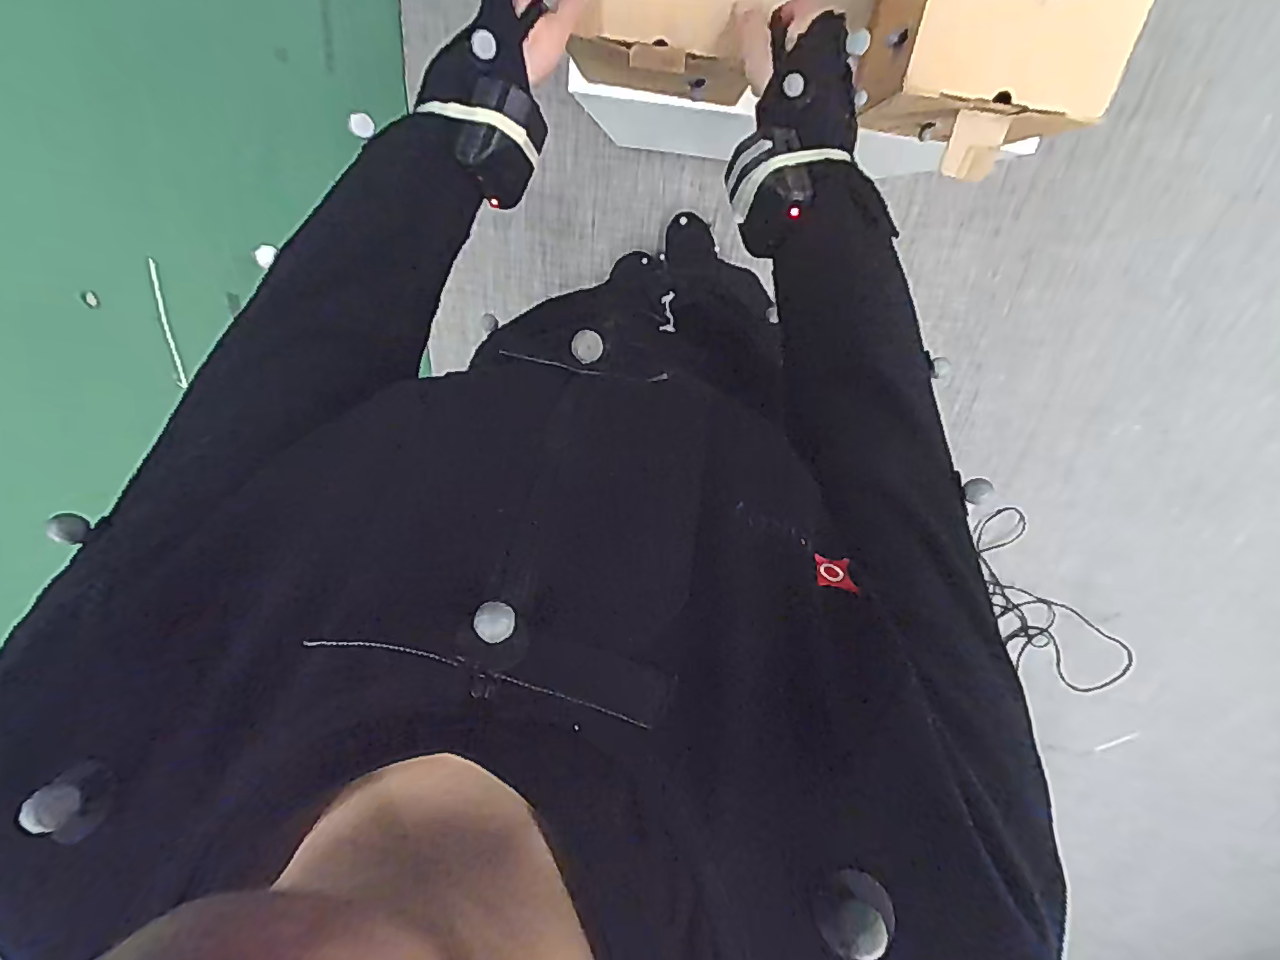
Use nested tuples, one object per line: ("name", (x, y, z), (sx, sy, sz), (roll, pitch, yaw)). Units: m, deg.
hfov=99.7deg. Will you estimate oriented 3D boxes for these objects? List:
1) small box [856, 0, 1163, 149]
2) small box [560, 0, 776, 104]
("small box", (0.307, -0.406, 0.464), (0.168, 0.176, 0.179), (8, 115, 0))
("small box", (0.033, -0.447, 0.462), (0.168, 0.176, 0.179), (8, 115, -2))
